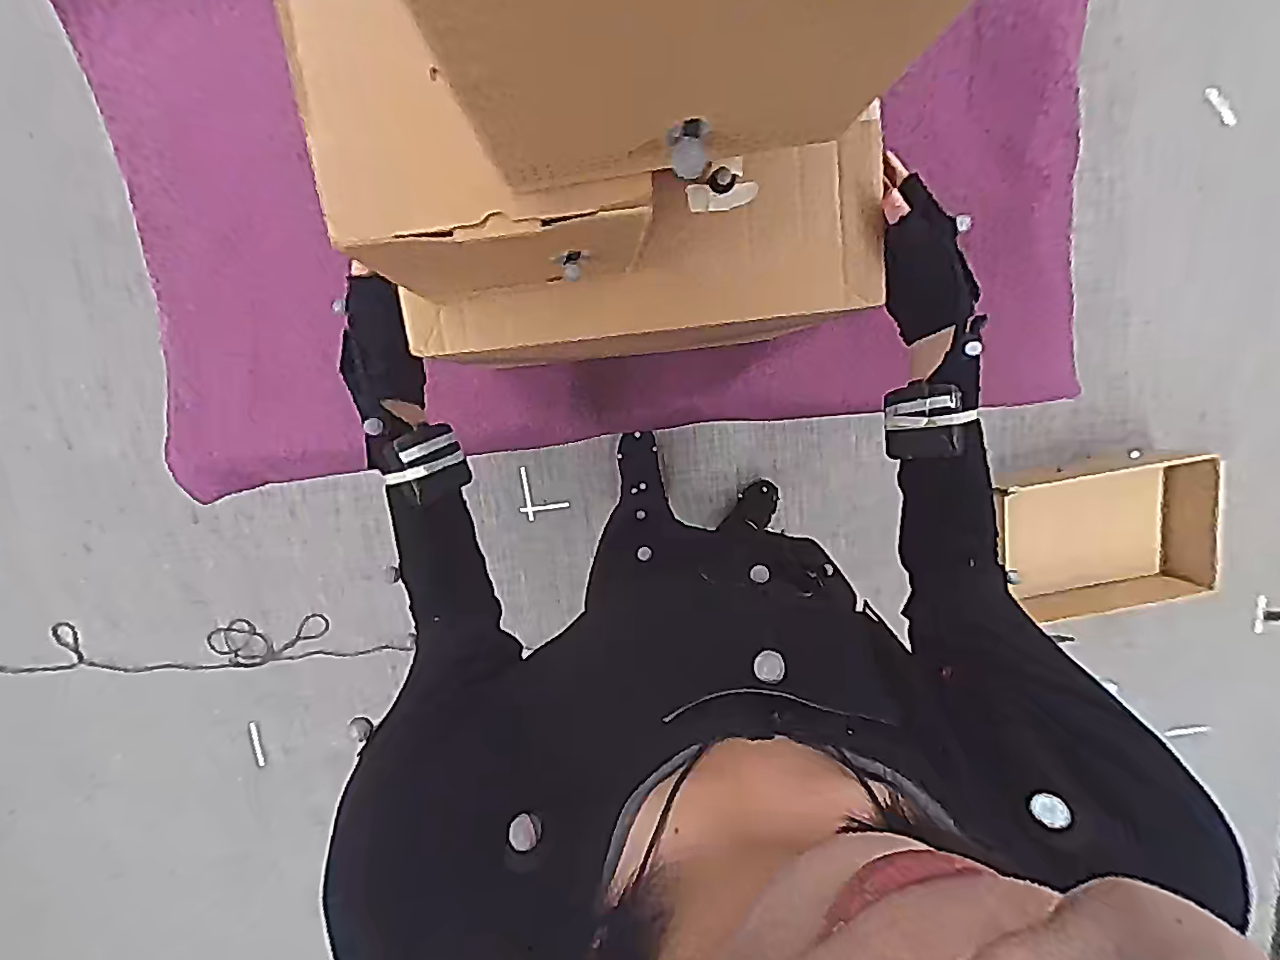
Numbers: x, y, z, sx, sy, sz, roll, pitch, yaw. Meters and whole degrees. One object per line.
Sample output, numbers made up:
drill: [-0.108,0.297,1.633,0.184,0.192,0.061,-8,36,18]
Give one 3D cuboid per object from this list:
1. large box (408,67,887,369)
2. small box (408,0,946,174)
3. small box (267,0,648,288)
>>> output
large box: [-0.017,-0.304,0.571,0.408,0.320,0.320,-8,101,-4]
small box: [0.008,-0.224,0.172,0.179,0.176,0.168,-10,100,-2]
small box: [-0.093,-0.225,0.331,0.168,0.176,0.179,-10,99,-4]
